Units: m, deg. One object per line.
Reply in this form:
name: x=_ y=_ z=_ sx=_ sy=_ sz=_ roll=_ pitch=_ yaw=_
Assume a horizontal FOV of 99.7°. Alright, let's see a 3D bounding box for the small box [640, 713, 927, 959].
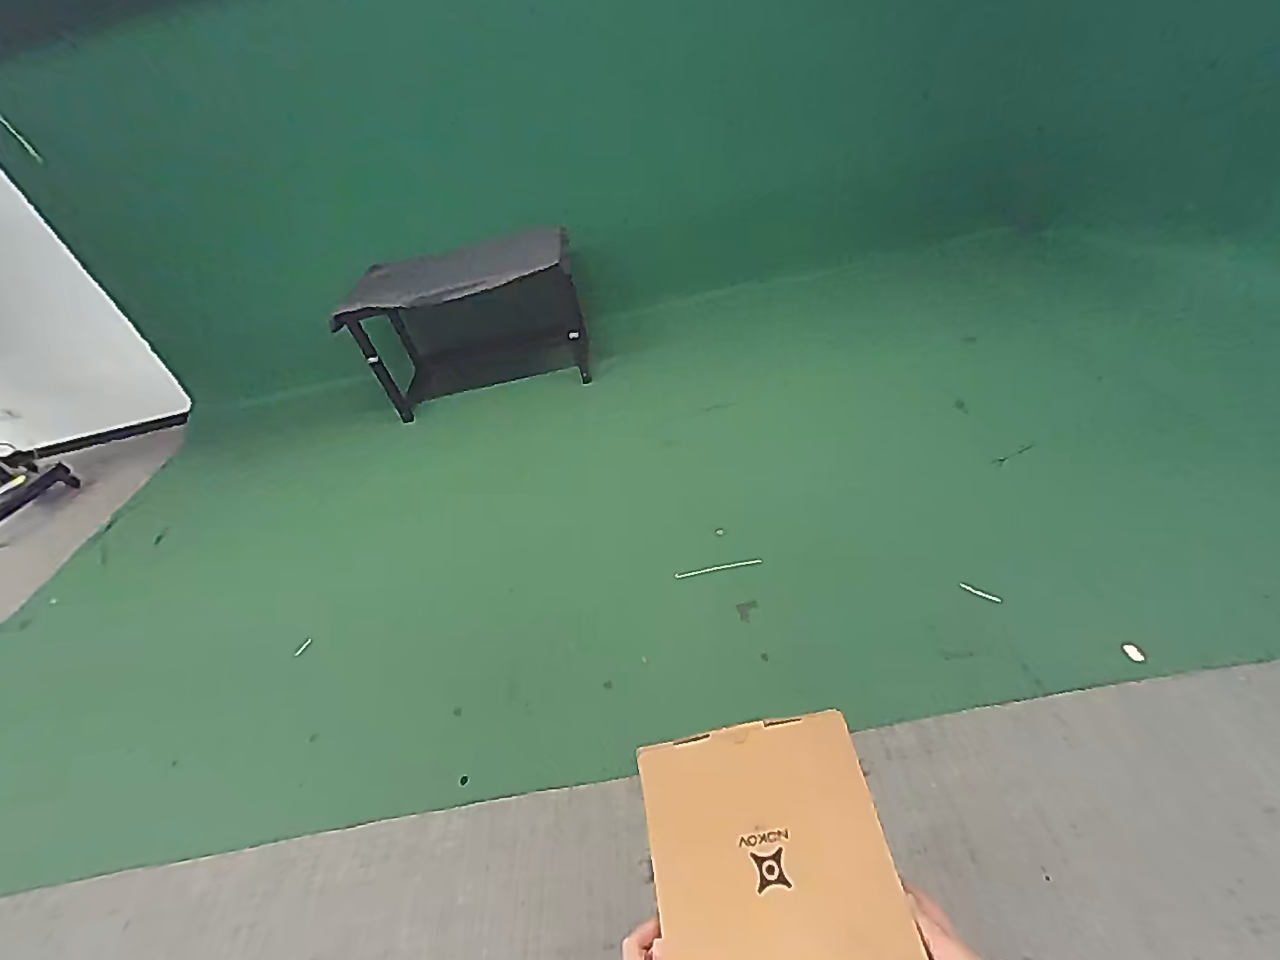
small box: x=0.105 y=0.311 z=0.437 sx=0.168 sy=0.176 sz=0.179 roll=-13 pitch=53 yaw=3
